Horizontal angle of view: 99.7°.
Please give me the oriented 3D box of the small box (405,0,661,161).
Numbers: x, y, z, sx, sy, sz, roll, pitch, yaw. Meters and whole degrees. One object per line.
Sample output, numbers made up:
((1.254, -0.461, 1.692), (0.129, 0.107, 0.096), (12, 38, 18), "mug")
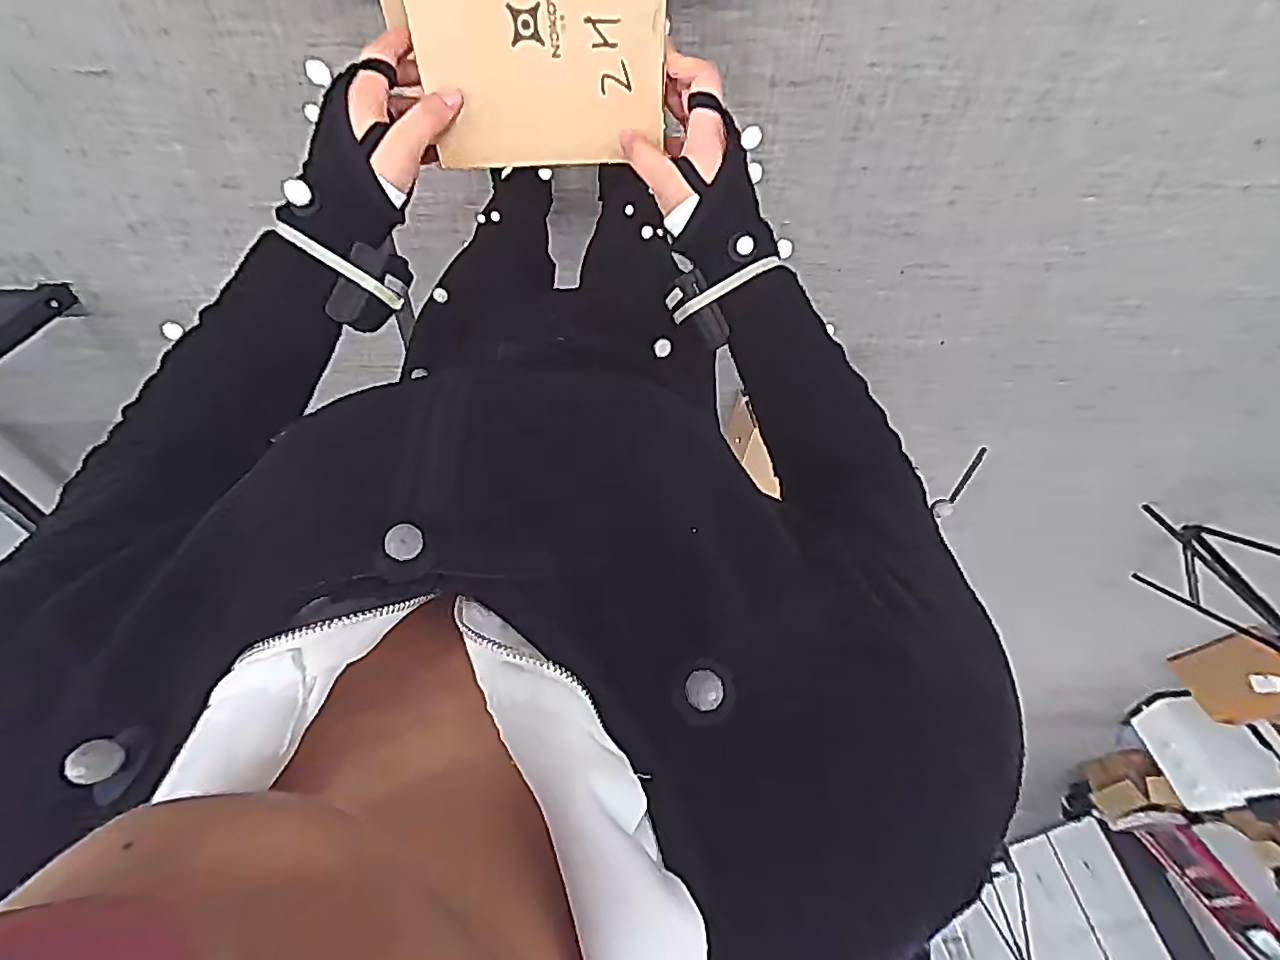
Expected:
((-0.077, -0.364, 0.437), (0.179, 0.176, 0.168), (-4, 129, -3), "small box")
